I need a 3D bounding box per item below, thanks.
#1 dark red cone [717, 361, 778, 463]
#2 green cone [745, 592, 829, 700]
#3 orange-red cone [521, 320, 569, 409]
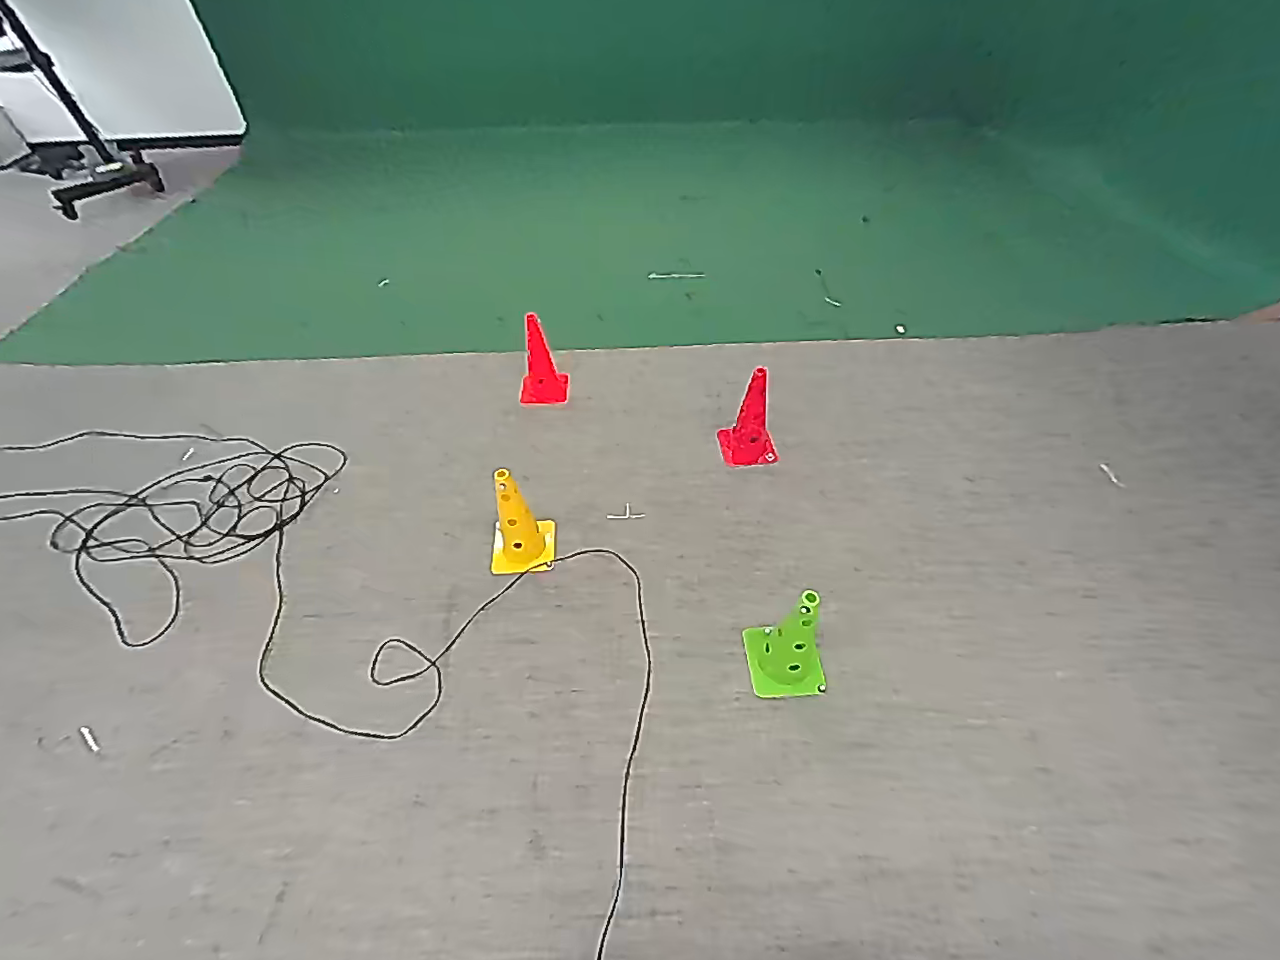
[{"bbox_3d":[0.402,-0.252,1.934,0.202,0.394,0.201,-7,47,-4],"label":"dark red cone"},{"bbox_3d":[0.400,0.392,1.384,0.202,0.368,0.200,-4,47,0],"label":"green cone"},{"bbox_3d":[-0.415,-0.487,2.206,0.198,0.360,0.199,-3,49,1],"label":"orange-red cone"}]
